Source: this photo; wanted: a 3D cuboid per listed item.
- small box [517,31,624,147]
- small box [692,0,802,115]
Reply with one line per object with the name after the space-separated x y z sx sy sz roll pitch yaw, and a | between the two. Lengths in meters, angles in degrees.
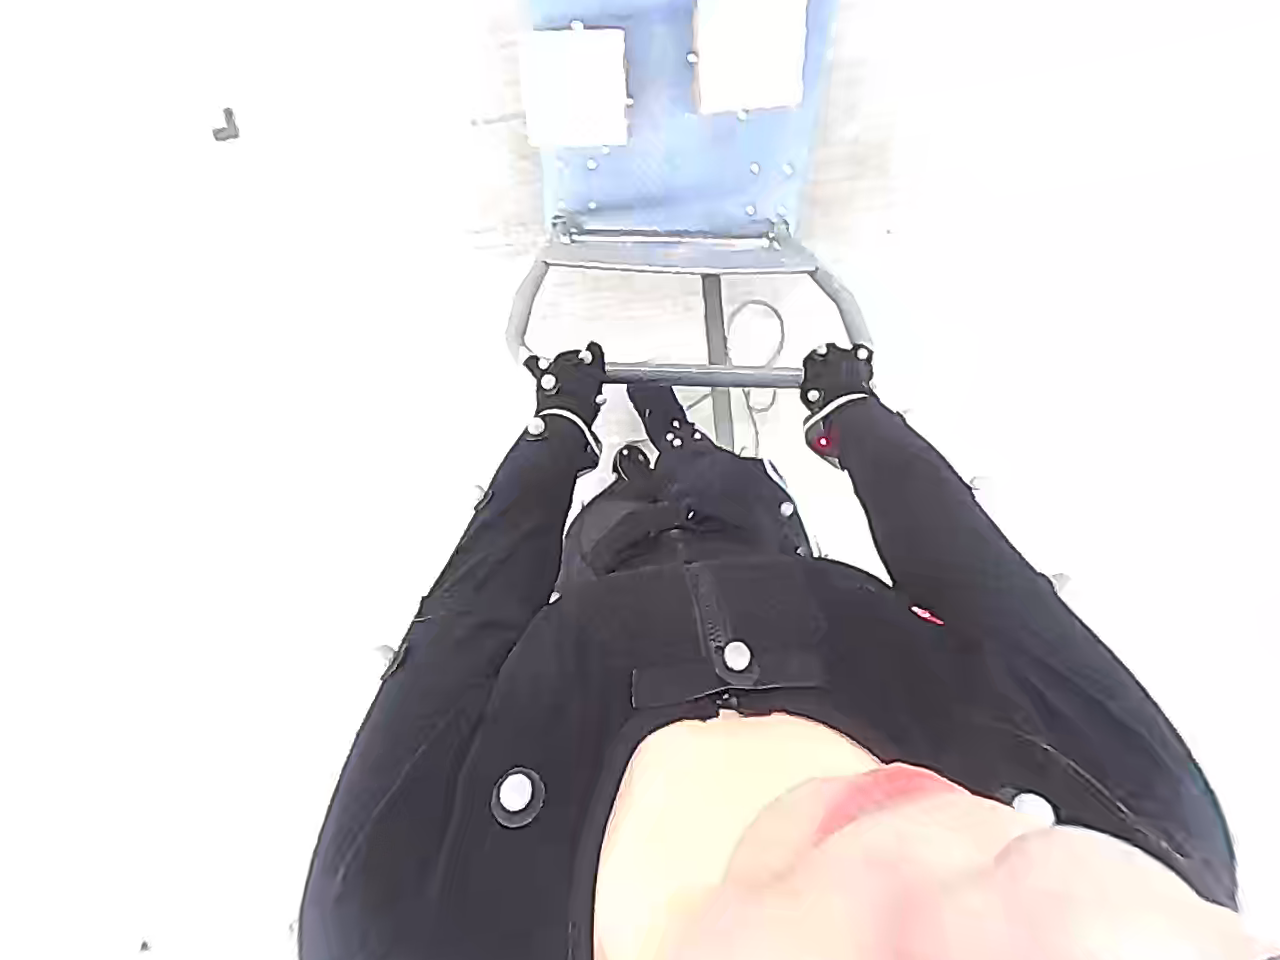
-0.121 -0.729 1.021 0.179 0.176 0.168 -2 123 0 | small box
0.186 -0.776 0.987 0.179 0.176 0.168 -4 123 4 | small box
